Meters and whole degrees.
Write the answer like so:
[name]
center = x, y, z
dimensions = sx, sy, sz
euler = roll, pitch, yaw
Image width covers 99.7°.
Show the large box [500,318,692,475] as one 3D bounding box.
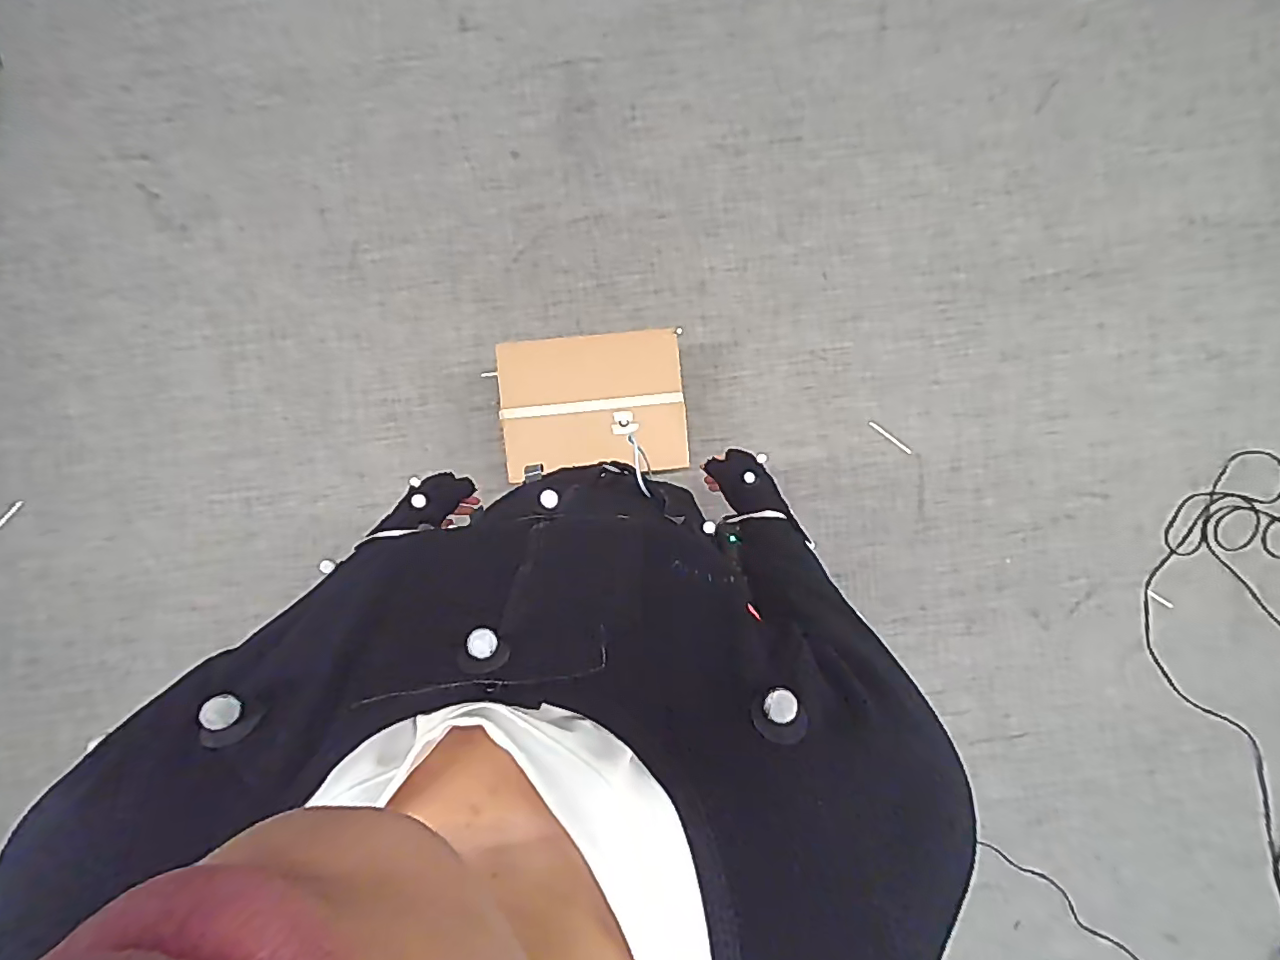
[large box]
center = -0.100, -0.186, 1.338
dimensions = 0.408, 0.320, 0.320
euler = -5, 92, -1
